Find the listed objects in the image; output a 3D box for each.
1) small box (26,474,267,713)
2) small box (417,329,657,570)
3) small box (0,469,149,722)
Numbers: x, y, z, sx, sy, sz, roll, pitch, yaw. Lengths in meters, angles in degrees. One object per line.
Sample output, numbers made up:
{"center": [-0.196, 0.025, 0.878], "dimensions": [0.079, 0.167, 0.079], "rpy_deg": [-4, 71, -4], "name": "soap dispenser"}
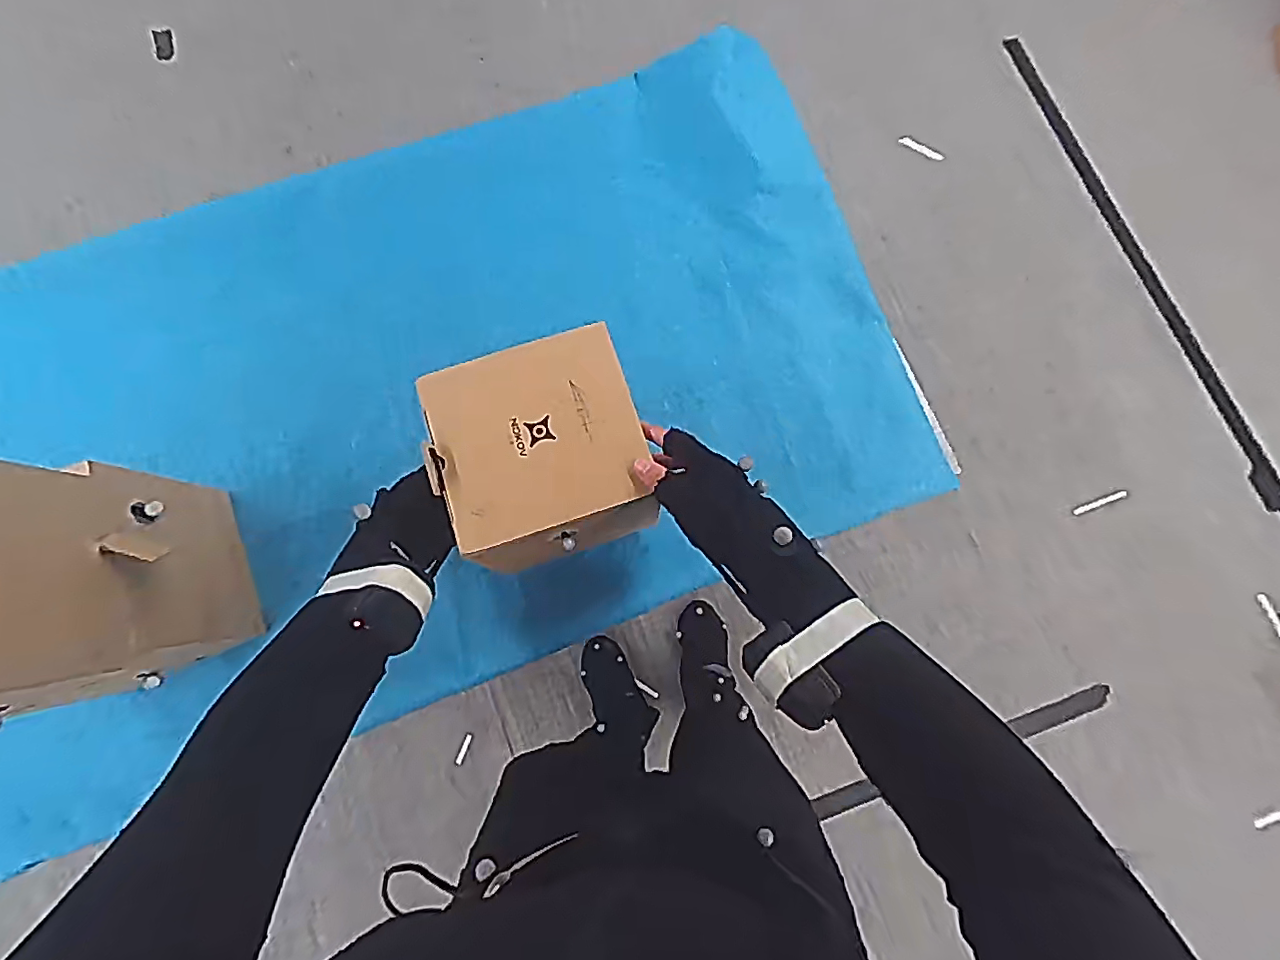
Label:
{"center": [-0.515, 0.112, 0.530], "dimensions": [0.168, 0.176, 0.179], "rpy_deg": [-19, 83, -3], "name": "small box"}
{"center": [-0.087, -0.016, 0.537], "dimensions": [0.179, 0.176, 0.168], "rpy_deg": [-19, 77, -3], "name": "small box"}
{"center": [-0.505, 0.093, 0.364], "dimensions": [0.179, 0.176, 0.168], "rpy_deg": [-20, 81, -4], "name": "small box"}
